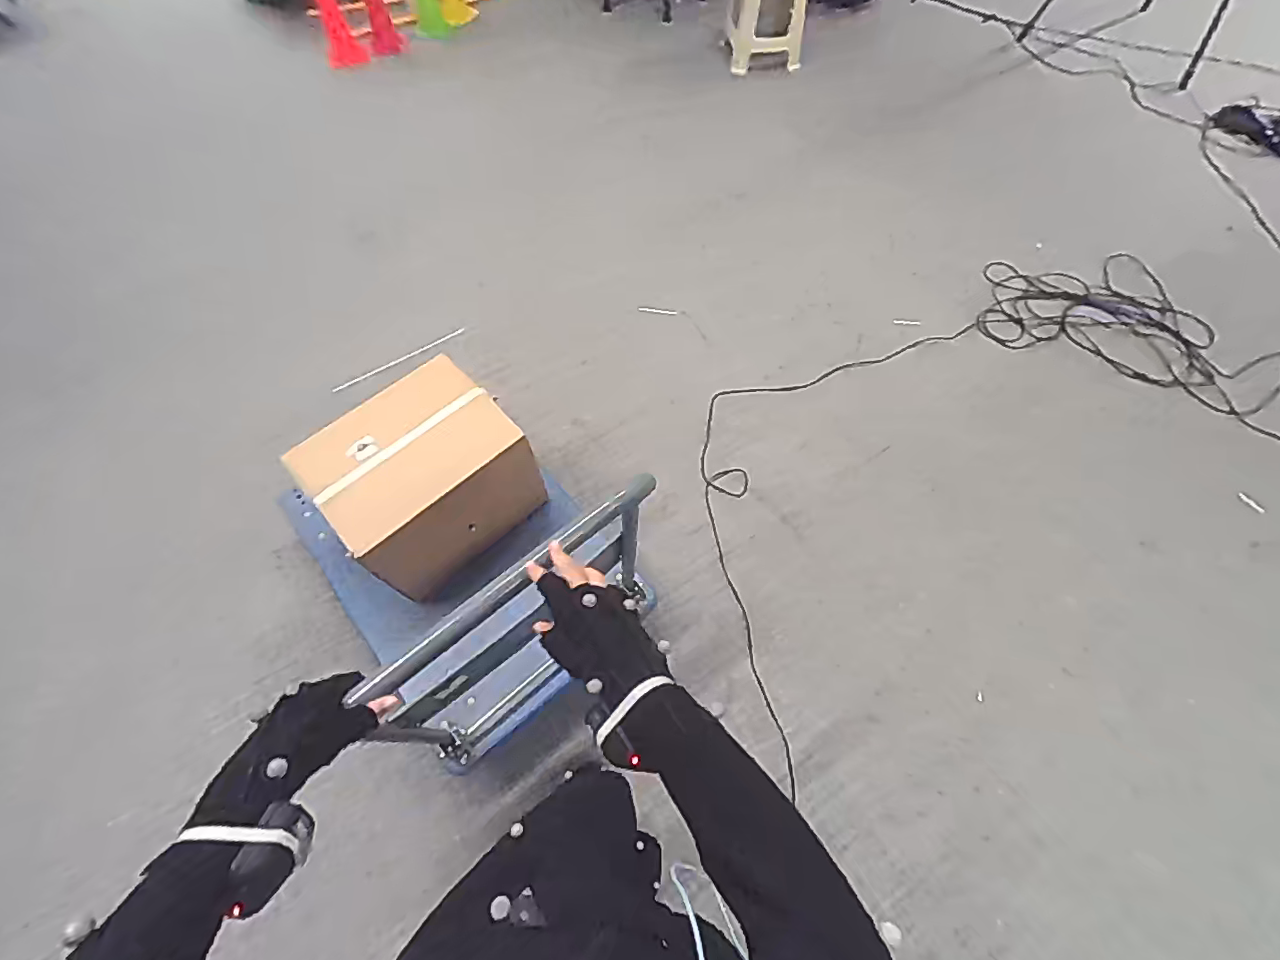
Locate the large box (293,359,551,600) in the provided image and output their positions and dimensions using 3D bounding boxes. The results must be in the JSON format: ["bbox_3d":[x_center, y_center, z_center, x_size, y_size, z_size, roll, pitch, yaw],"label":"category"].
[{"bbox_3d":[-0.476,0.006,1.266,0.408,0.320,0.320,-41,68,-18],"label":"large box"}]
